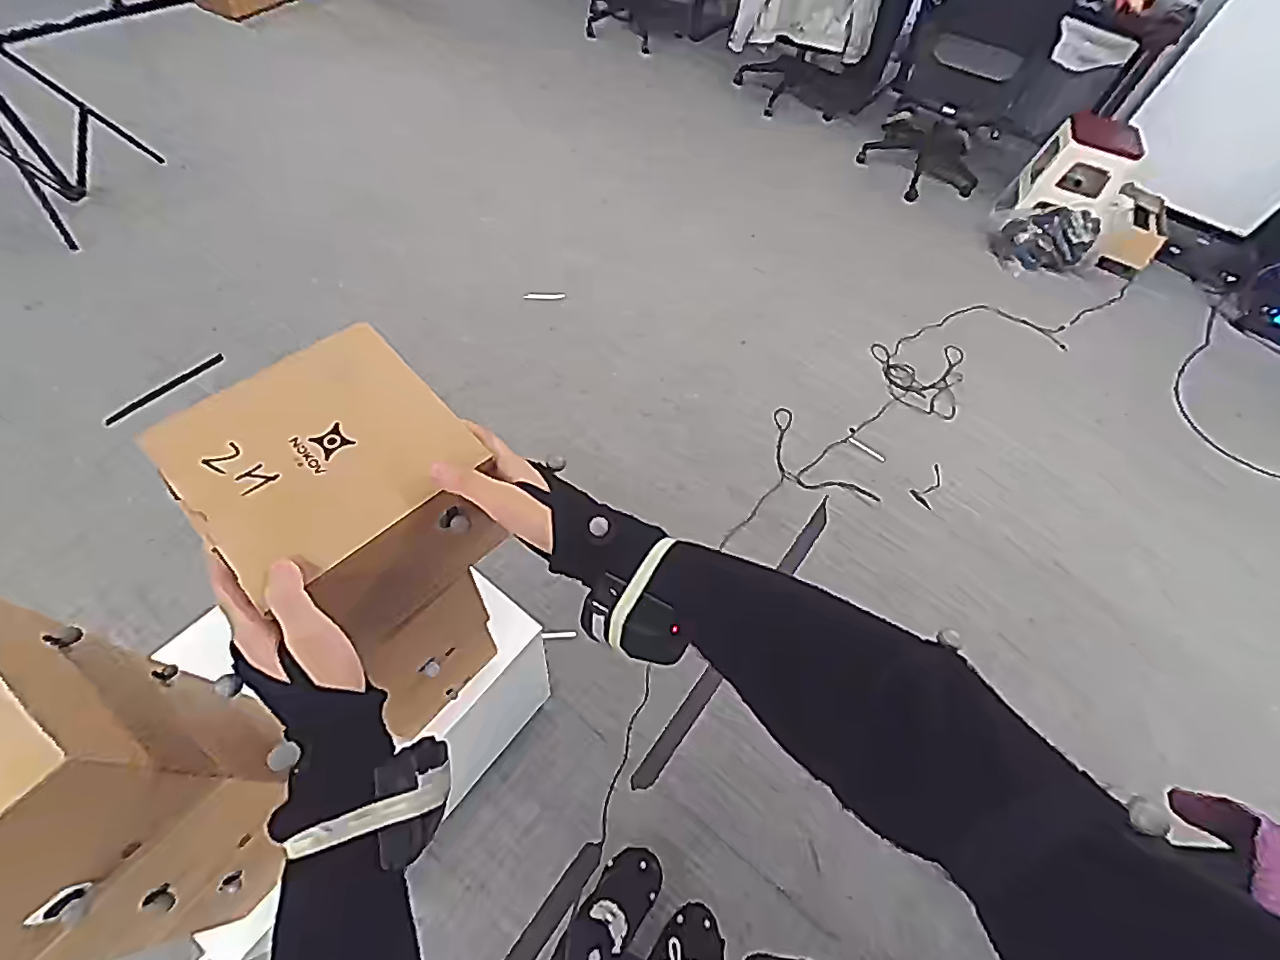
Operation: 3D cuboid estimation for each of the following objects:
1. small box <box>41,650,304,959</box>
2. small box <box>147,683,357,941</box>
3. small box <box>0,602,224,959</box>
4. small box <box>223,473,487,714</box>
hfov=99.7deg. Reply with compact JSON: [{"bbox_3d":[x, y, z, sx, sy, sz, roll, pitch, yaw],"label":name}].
[{"bbox_3d":[-0.451,0.287,0.485,0.179,0.176,0.168,34,60,14],"label":"small box"},{"bbox_3d":[-0.471,0.372,0.623,0.179,0.176,0.168,36,60,15],"label":"small box"},{"bbox_3d":[-0.434,0.200,0.349,0.179,0.176,0.168,35,62,13],"label":"small box"},{"bbox_3d":[-0.294,0.132,0.598,0.179,0.176,0.168,38,62,14],"label":"small box"}]
